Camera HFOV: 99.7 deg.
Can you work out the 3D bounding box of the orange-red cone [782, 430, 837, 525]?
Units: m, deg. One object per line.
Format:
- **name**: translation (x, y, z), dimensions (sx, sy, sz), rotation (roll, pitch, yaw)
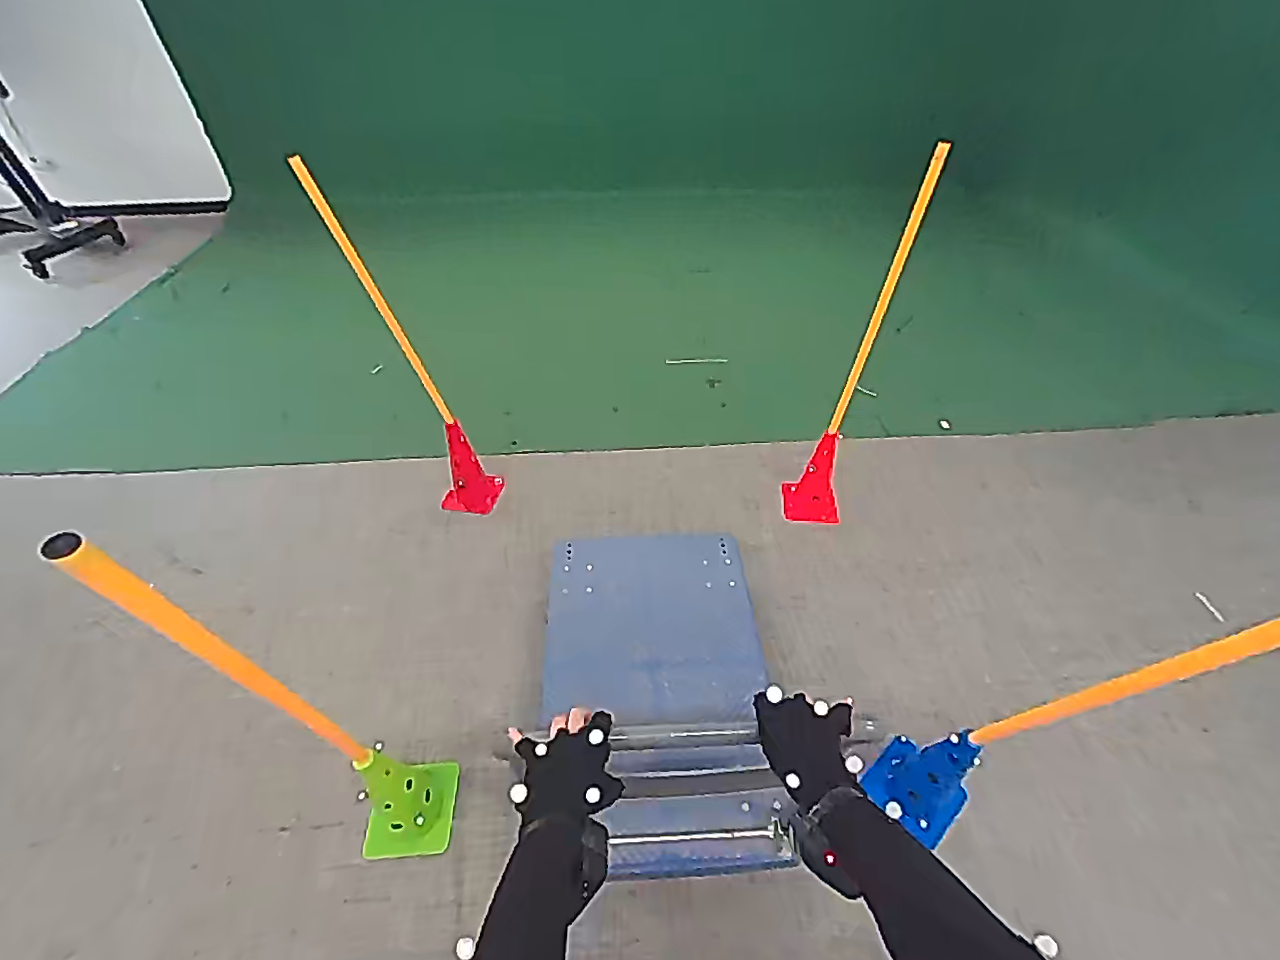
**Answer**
- **orange-red cone**: translation (0.640, -0.030, 1.935), dimensions (0.198, 0.360, 0.199), rotation (5, 45, 6)
